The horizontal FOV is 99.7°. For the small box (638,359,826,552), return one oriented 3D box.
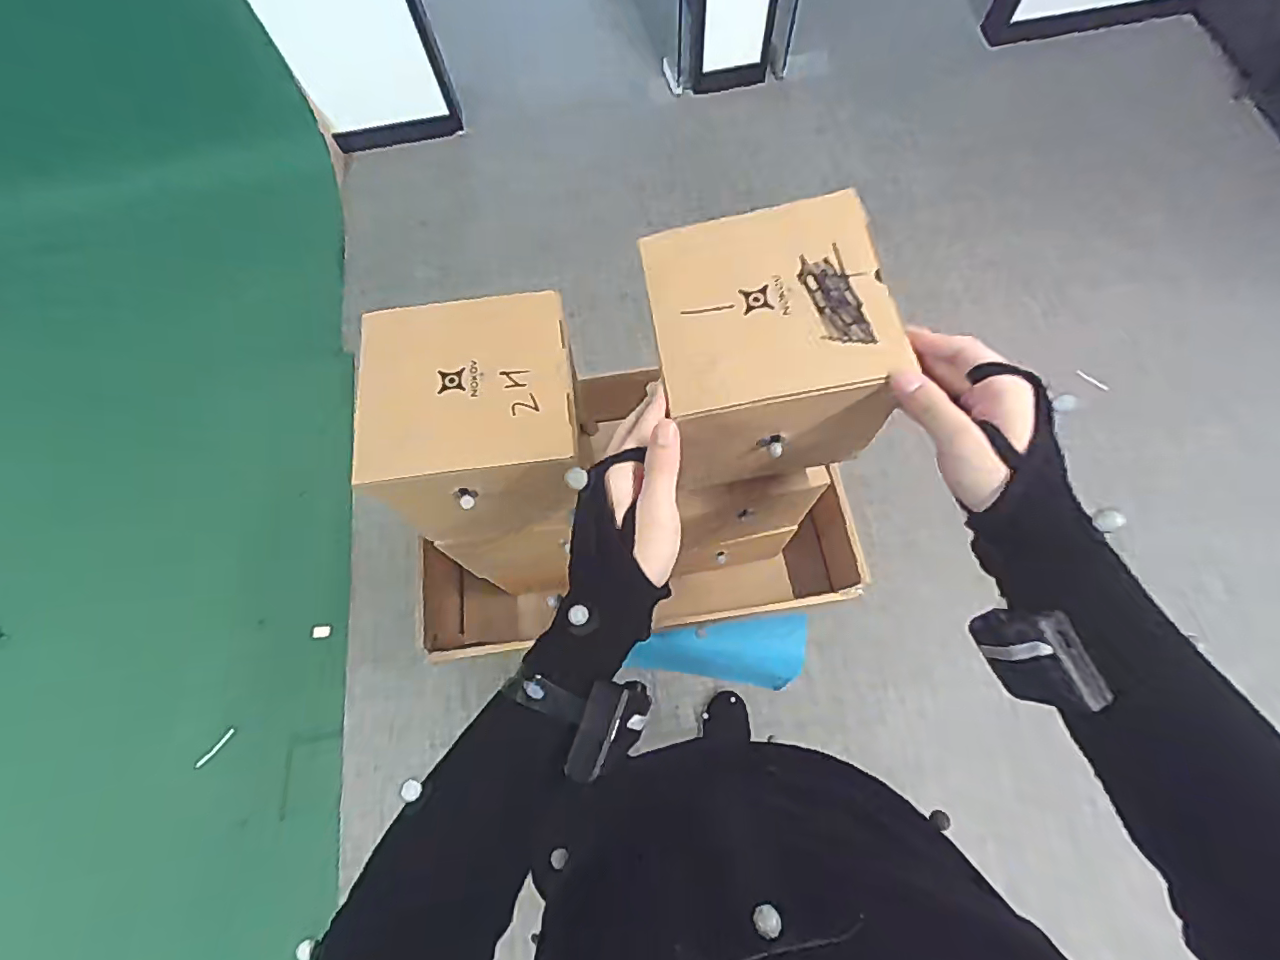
[{"bbox_3d":[0.105,-0.020,0.675,0.179,0.176,0.168,-13,69,0],"label":"small box"}]

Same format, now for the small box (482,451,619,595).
[{"bbox_3d":[-0.134,0.075,0.836,0.179,0.176,0.168,-9,69,-2],"label":"small box"}]

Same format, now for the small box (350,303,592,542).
[{"bbox_3d":[-0.149,-0.045,0.529,0.179,0.176,0.168,-7,69,-1],"label":"small box"}]

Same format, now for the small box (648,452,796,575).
[{"bbox_3d":[0.121,0.039,0.828,0.179,0.176,0.168,-13,69,2],"label":"small box"}]
